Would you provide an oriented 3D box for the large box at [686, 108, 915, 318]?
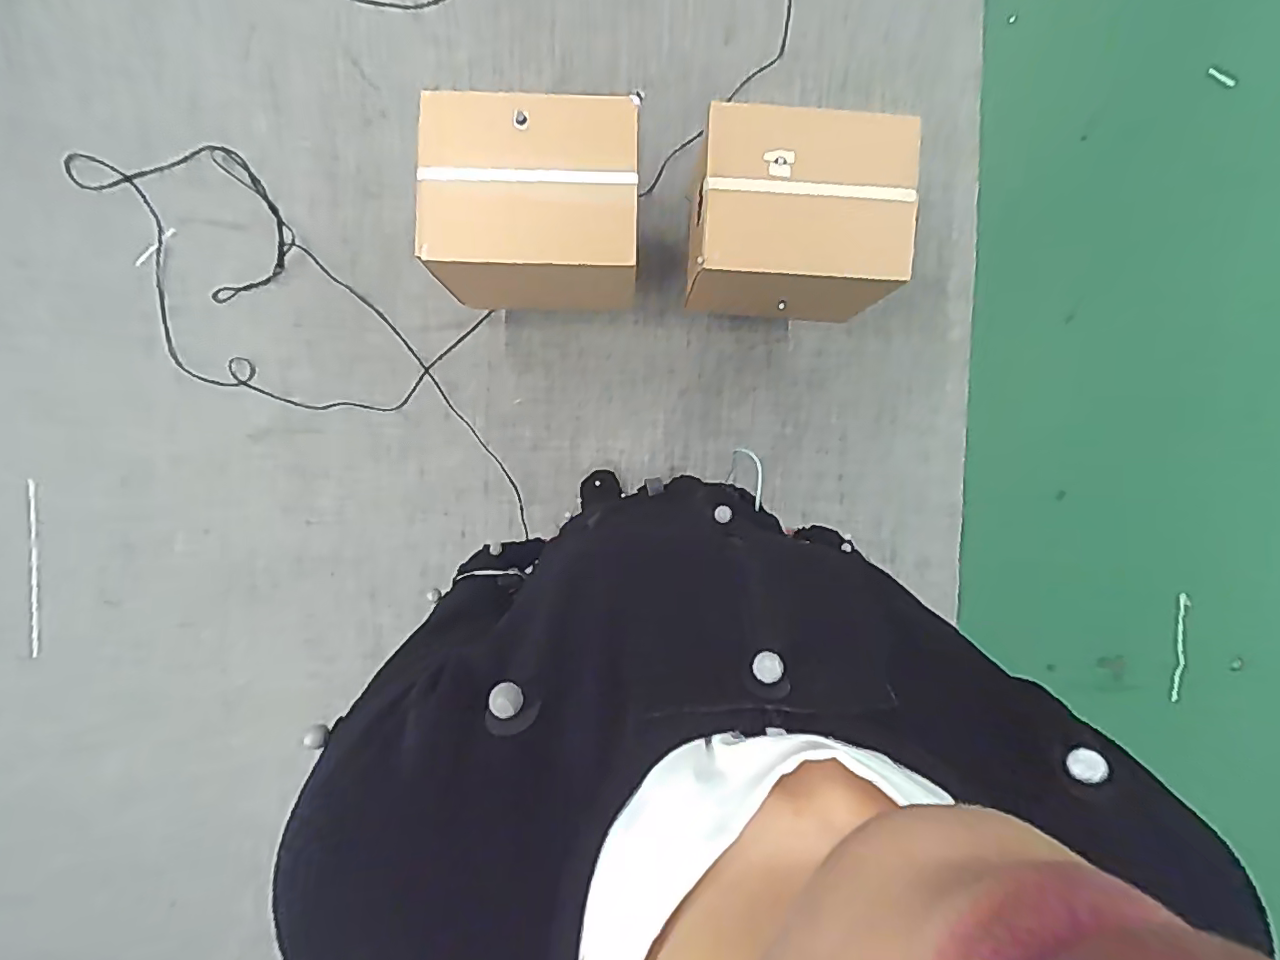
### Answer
[{"bbox_3d":[0.321,-0.552,1.183,0.408,0.320,0.320,3,91,-1],"label":"large box"}]
